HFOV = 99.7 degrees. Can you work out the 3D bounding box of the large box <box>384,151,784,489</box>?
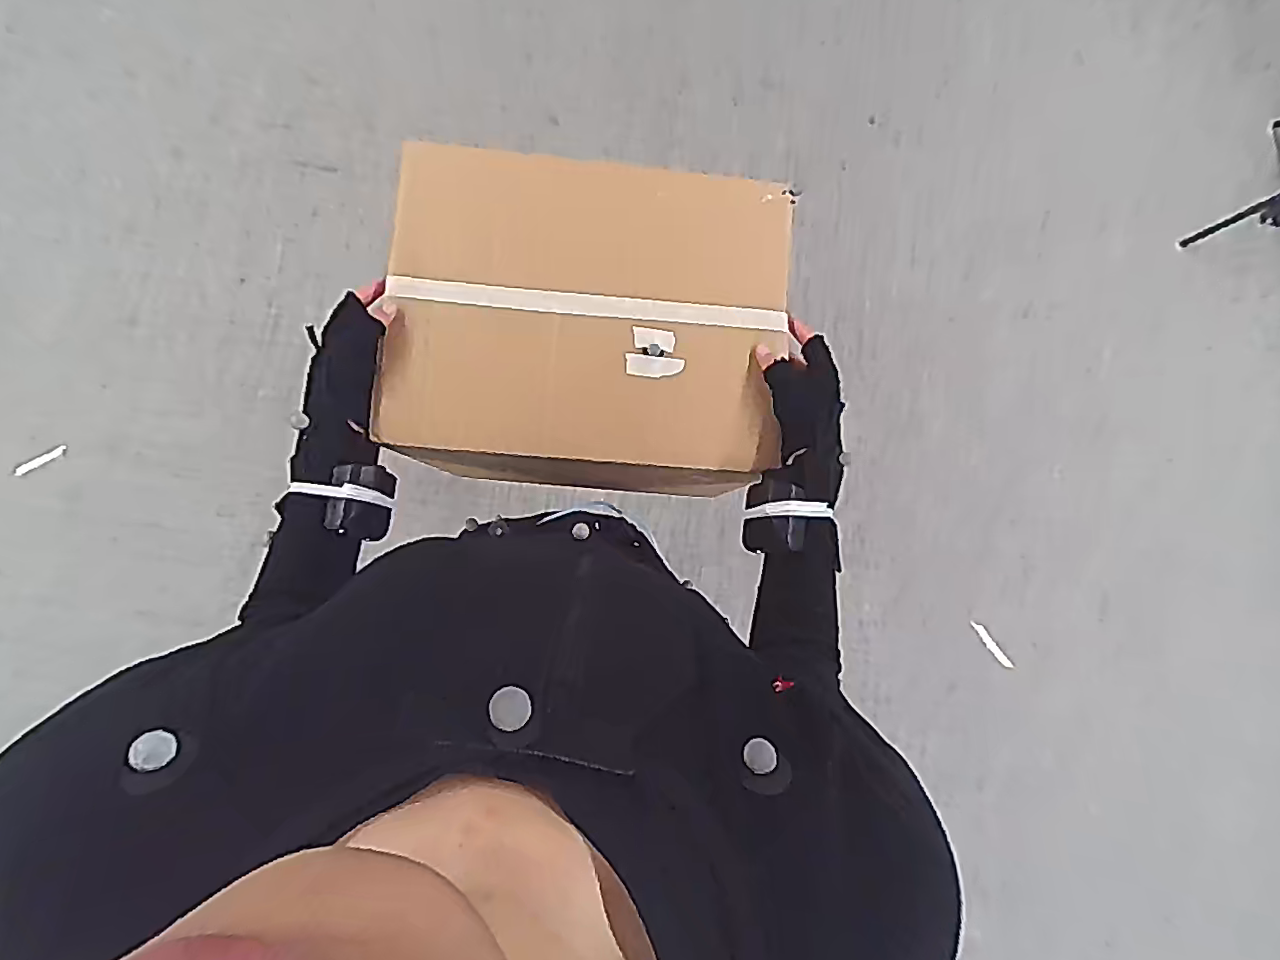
[{"bbox_3d":[-0.062,-0.164,0.707,0.408,0.320,0.320,4,84,-4],"label":"large box"}]
